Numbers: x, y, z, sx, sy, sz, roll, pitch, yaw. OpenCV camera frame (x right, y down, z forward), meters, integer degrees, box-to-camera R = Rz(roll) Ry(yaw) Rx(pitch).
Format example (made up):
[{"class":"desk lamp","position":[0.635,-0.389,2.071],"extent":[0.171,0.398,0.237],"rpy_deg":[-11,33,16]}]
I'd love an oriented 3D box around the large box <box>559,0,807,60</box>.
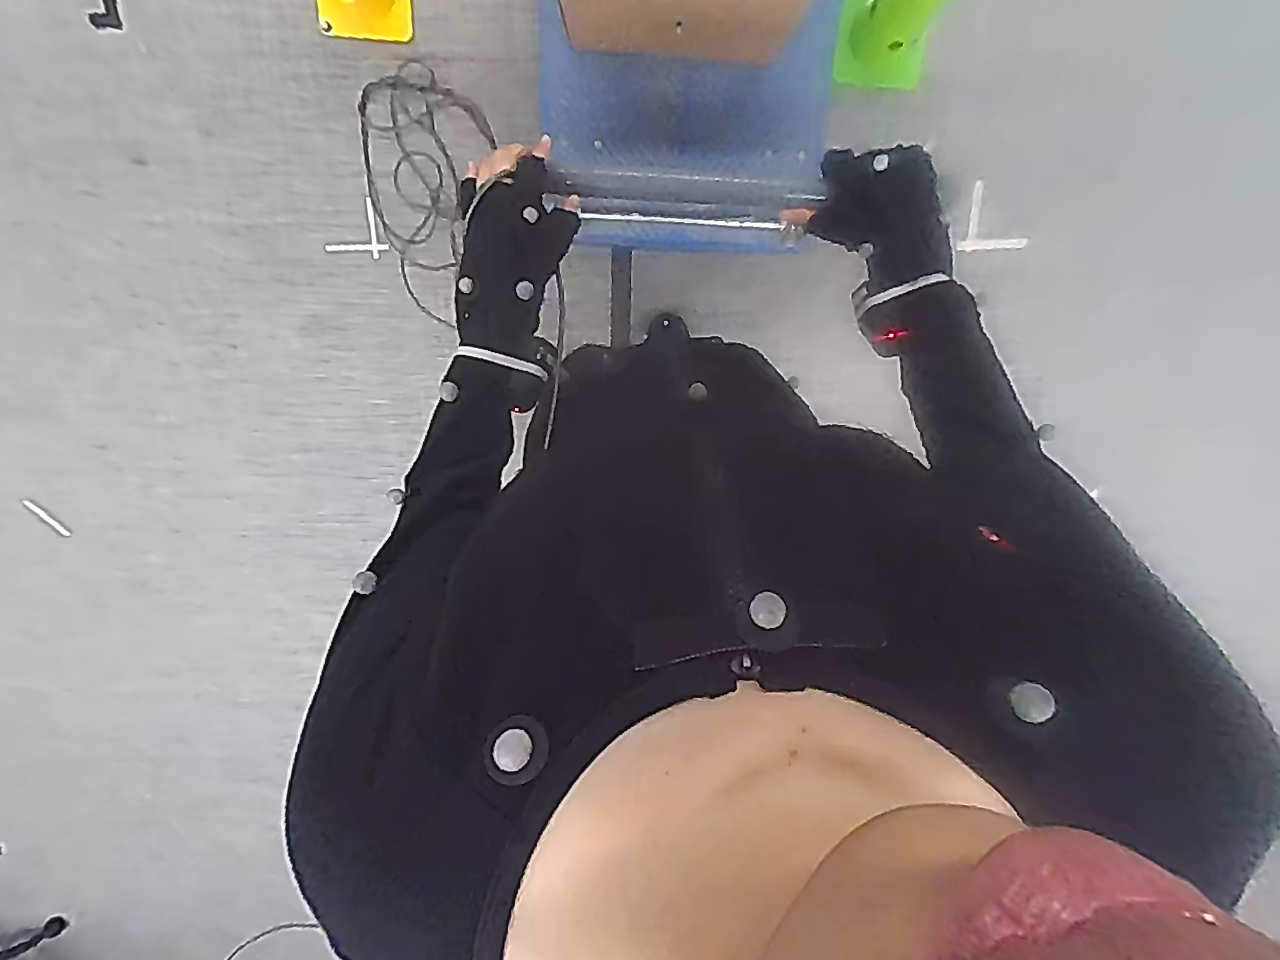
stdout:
[{"class":"large box","position":[0.073,-0.931,0.878],"extent":[0.408,0.320,0.320],"rpy_deg":[3,108,-1]}]

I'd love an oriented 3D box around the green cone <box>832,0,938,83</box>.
[{"class":"green cone","position":[0.539,-0.950,1.030],"extent":[0.202,0.368,0.200],"rpy_deg":[3,107,-4]}]
